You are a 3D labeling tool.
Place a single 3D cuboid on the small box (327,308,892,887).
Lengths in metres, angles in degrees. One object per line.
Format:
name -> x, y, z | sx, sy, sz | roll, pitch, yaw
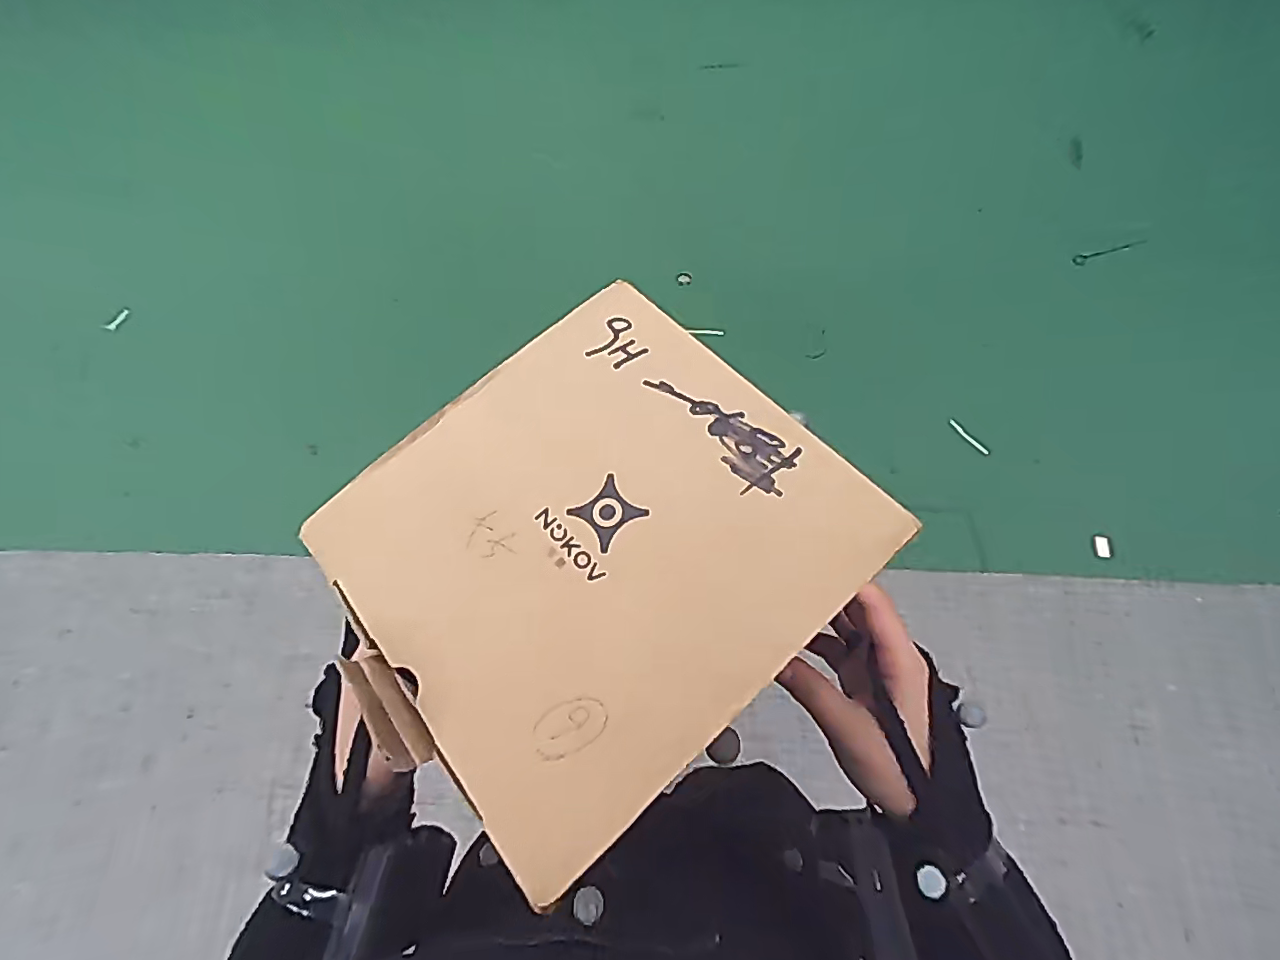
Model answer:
small box -> -0.009, 0.055, 0.289 | 0.179, 0.176, 0.168 | -42, 69, -10
